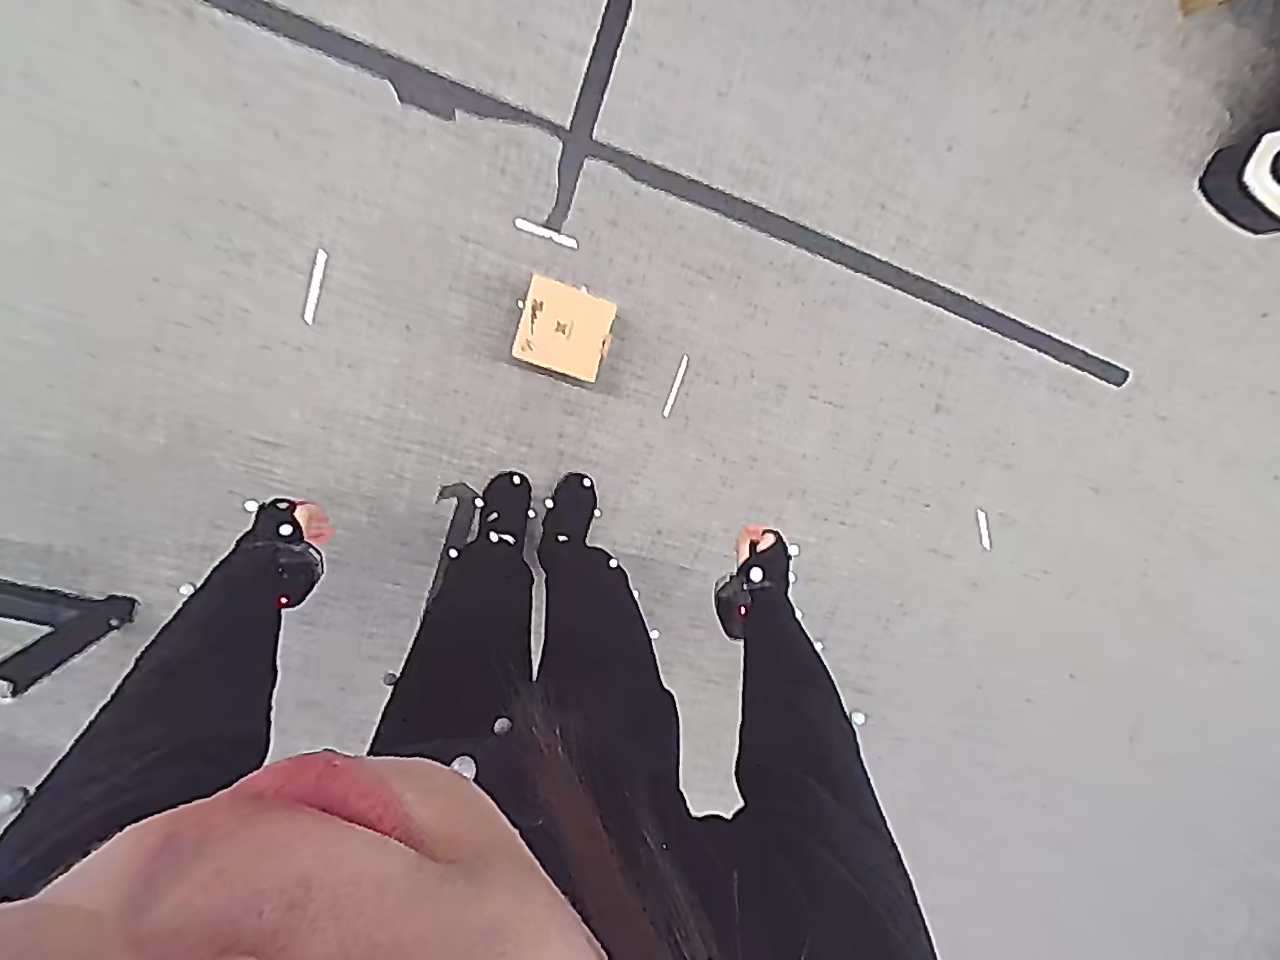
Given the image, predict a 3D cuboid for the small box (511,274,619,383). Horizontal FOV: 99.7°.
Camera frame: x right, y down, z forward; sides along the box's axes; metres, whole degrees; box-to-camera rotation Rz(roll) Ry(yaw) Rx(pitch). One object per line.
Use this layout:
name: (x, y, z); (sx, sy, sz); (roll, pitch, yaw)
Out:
small box: (-0.161, -0.317, 1.139); (0.179, 0.176, 0.168); (17, 102, -15)
